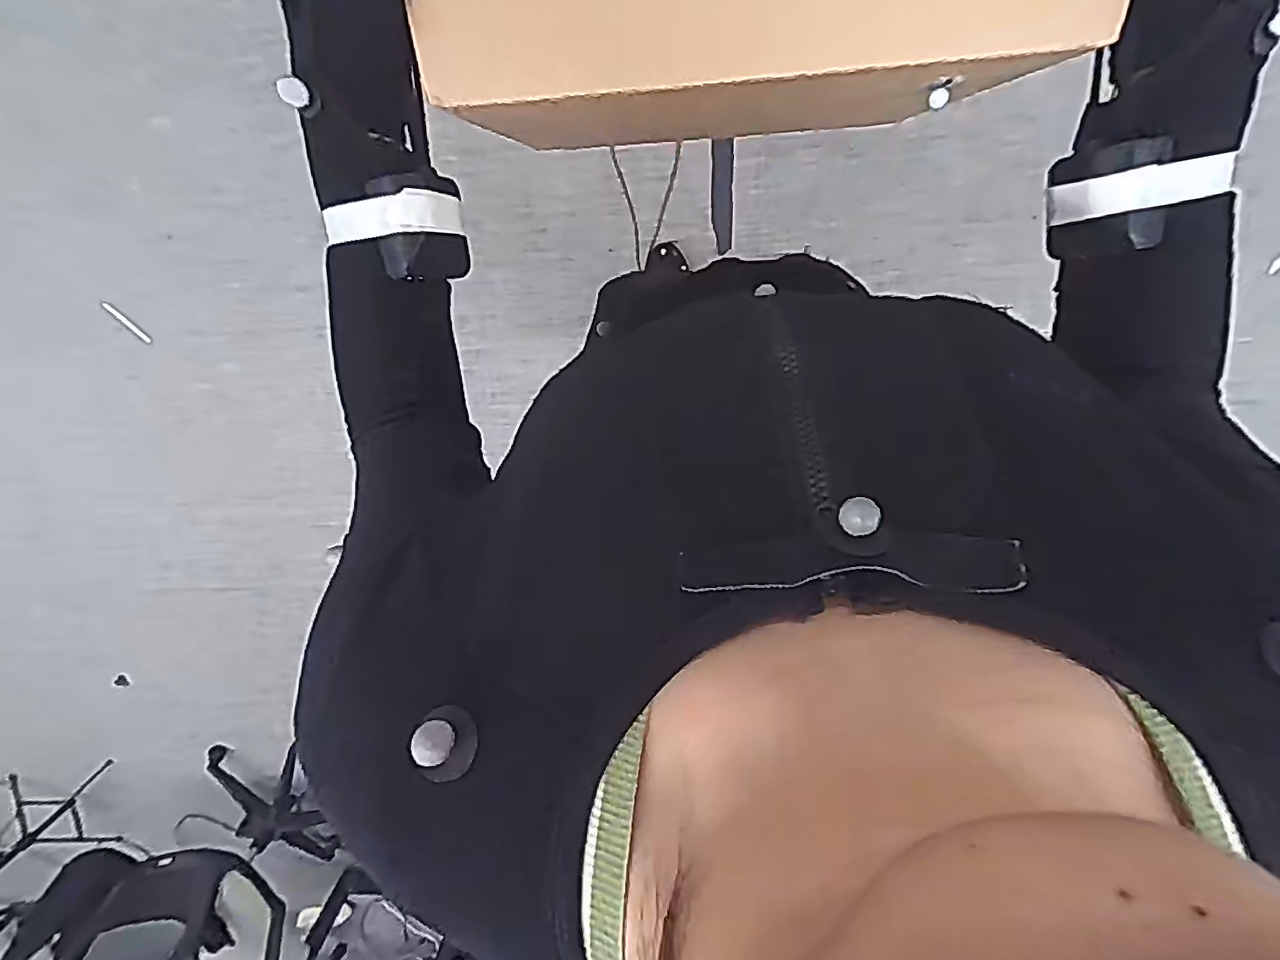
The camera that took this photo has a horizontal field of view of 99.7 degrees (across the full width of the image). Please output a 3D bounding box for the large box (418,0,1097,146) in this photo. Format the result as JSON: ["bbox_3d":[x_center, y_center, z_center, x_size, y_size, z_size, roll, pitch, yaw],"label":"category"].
[{"bbox_3d":[0.063,-0.449,0.396,0.408,0.320,0.320,-3,116,3],"label":"large box"}]
